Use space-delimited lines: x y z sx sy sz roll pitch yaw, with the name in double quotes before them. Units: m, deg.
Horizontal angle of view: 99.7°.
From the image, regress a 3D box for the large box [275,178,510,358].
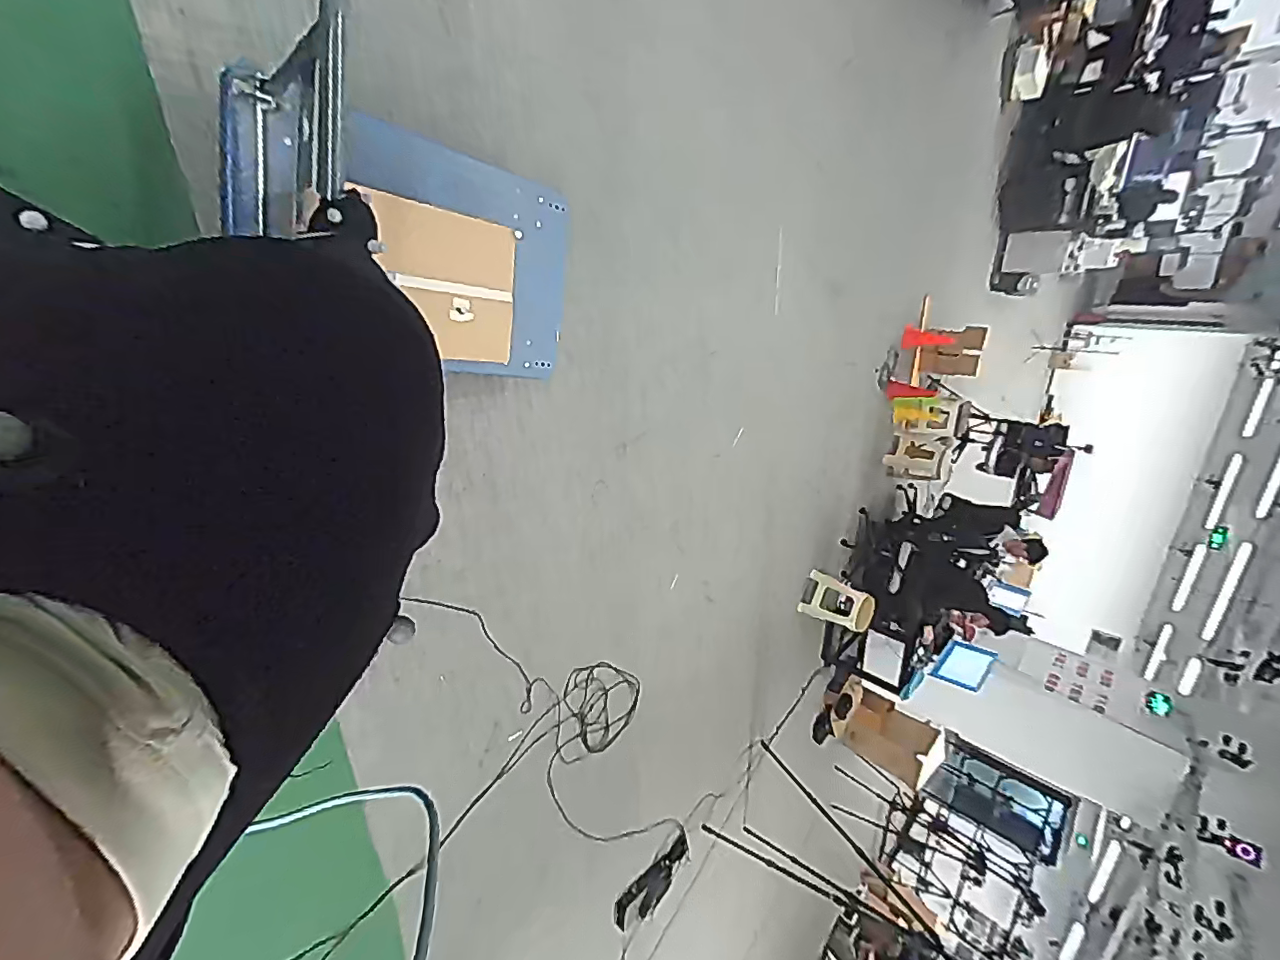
"large box" -0.563 -0.460 1.252 0.408 0.320 0.320 -9 111 -47
